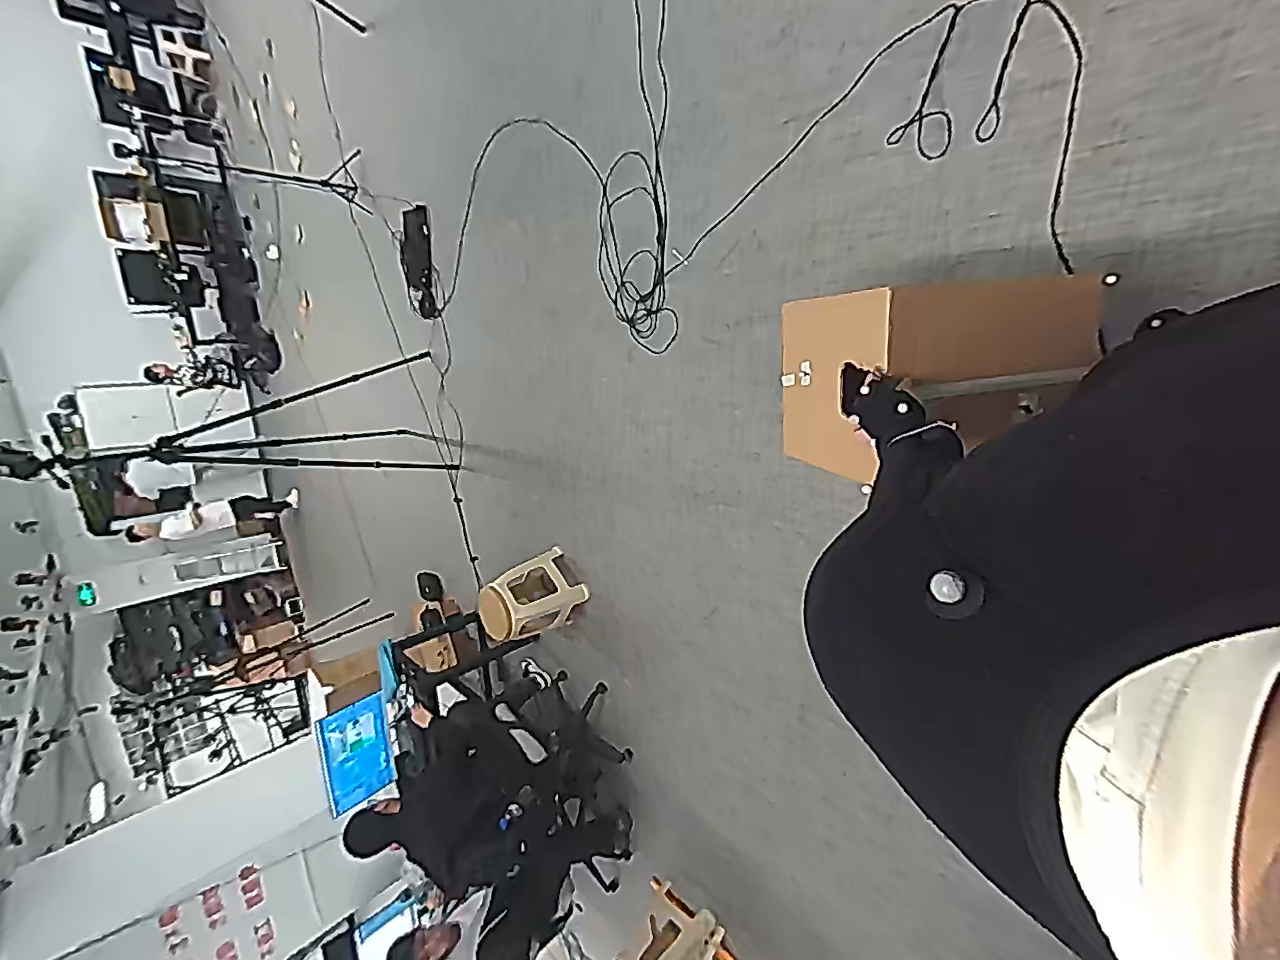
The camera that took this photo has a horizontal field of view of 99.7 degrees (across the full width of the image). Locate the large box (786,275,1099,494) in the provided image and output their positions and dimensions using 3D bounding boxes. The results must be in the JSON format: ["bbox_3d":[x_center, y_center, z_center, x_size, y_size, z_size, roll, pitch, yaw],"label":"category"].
[{"bbox_3d":[0.529,-0.186,1.006,0.320,0.408,0.320,-140,43,-69],"label":"large box"}]
